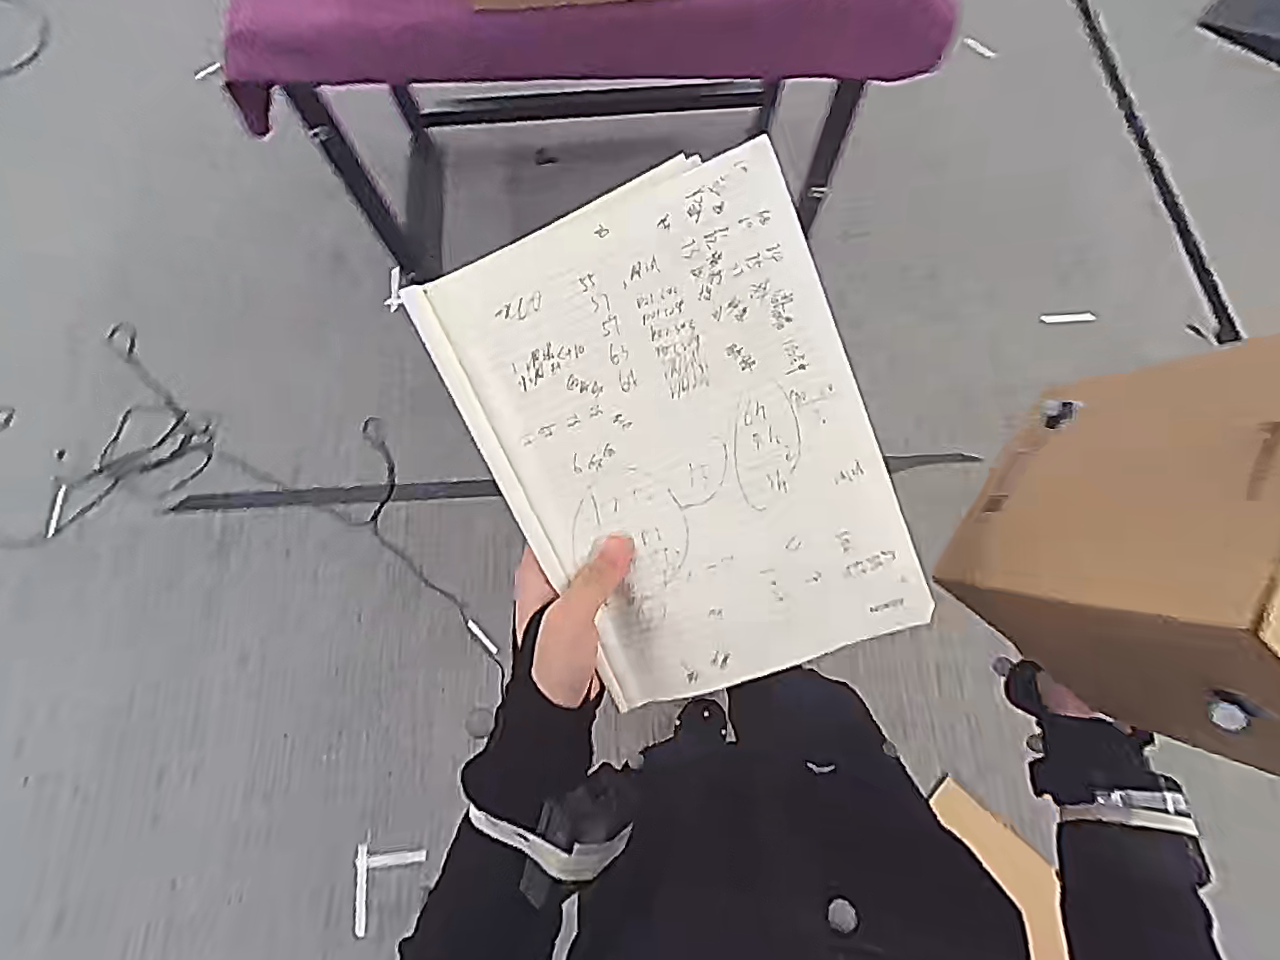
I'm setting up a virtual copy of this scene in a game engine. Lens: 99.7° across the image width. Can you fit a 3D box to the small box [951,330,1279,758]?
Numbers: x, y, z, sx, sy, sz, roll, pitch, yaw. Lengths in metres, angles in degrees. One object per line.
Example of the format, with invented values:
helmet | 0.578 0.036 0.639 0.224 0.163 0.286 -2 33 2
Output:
small box | 0.325 0.042 0.303 0.179 0.176 0.168 37 82 -8
